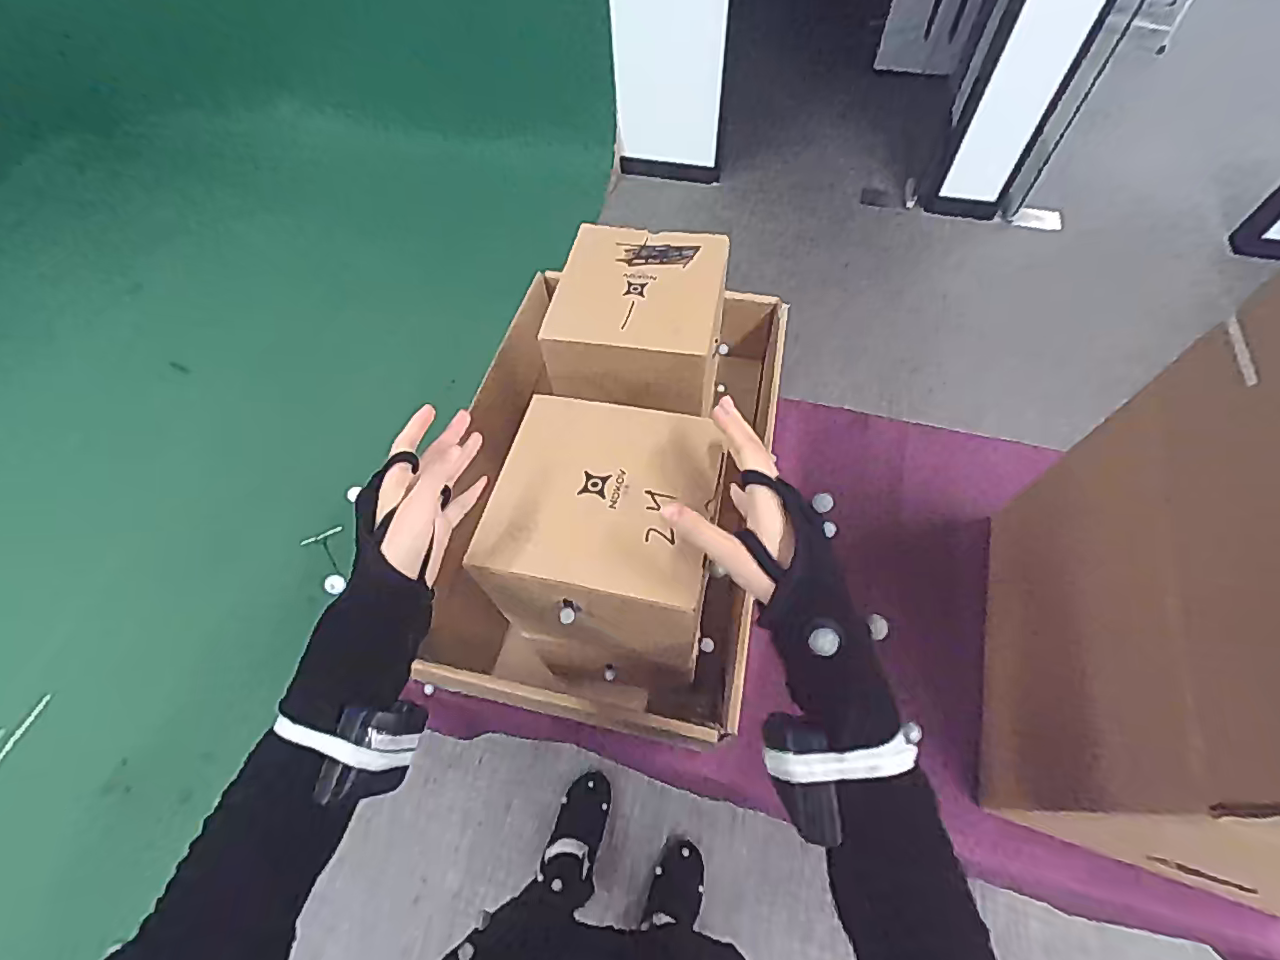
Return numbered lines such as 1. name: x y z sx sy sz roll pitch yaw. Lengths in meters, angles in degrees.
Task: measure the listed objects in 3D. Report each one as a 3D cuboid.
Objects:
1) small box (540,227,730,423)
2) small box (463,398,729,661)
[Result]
1. small box: 0.003 -0.155 0.617 0.168 0.176 0.179 8 62 9
2. small box: -0.025 0.051 0.491 0.179 0.176 0.168 10 60 10
